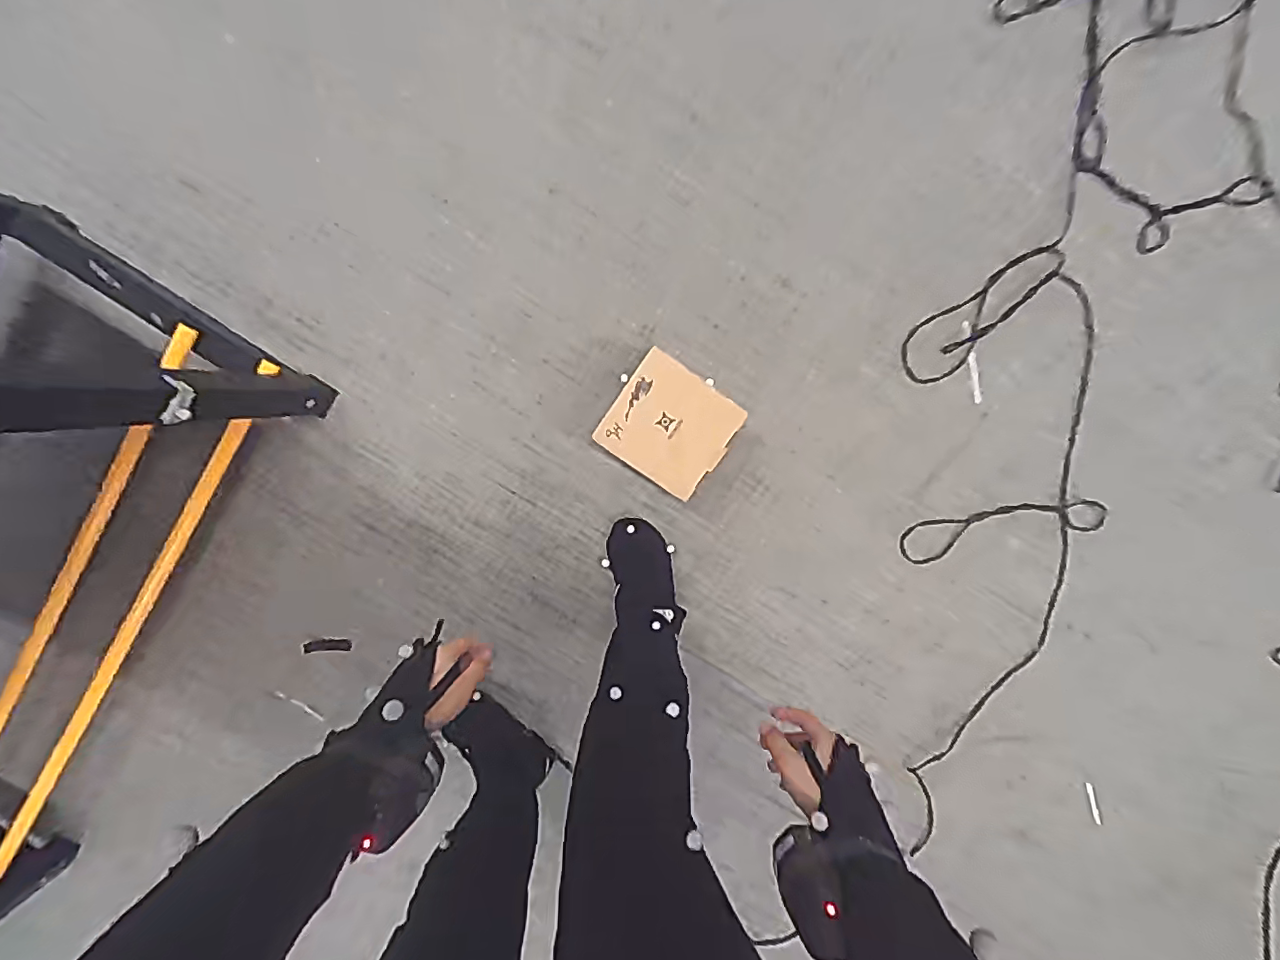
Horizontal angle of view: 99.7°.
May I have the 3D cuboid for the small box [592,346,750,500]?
[{"bbox_3d":[0.046,-0.095,0.867,0.179,0.176,0.168,35,98,-5],"label":"small box"}]
